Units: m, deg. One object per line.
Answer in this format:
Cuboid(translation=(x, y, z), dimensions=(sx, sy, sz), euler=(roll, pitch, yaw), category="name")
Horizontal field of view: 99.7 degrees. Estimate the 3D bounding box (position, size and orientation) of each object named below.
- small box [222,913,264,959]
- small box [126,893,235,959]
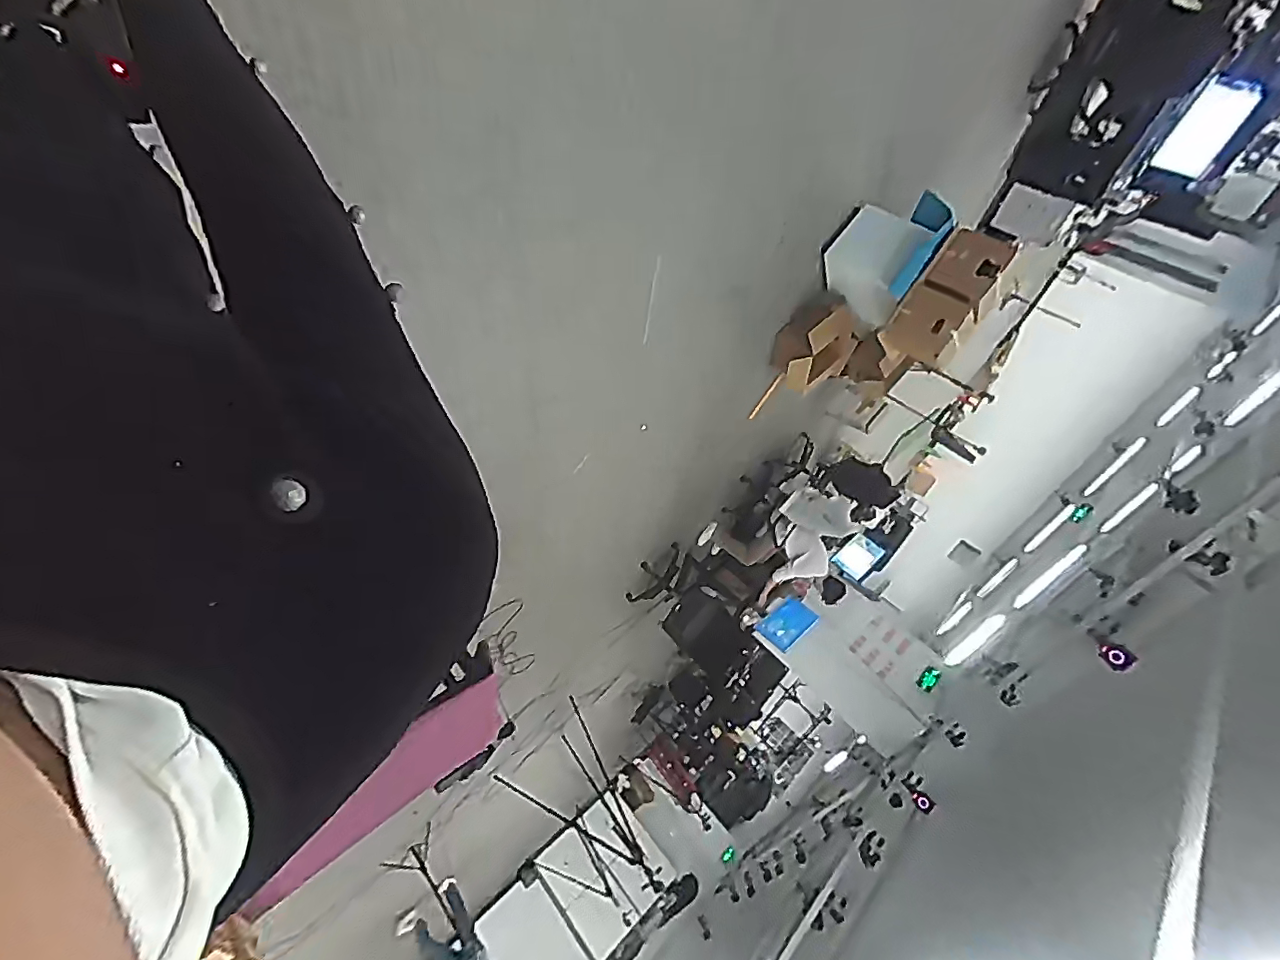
Cuboid(translation=(-1.320, 1.519, 1.706), dimensions=(0.168, 0.176, 0.179), euler=(-30, 146, -37), category="small box")
Cuboid(translation=(-1.262, 1.289, 1.489), dimensions=(0.168, 0.176, 0.179), euler=(-28, 148, -38), category="small box")
